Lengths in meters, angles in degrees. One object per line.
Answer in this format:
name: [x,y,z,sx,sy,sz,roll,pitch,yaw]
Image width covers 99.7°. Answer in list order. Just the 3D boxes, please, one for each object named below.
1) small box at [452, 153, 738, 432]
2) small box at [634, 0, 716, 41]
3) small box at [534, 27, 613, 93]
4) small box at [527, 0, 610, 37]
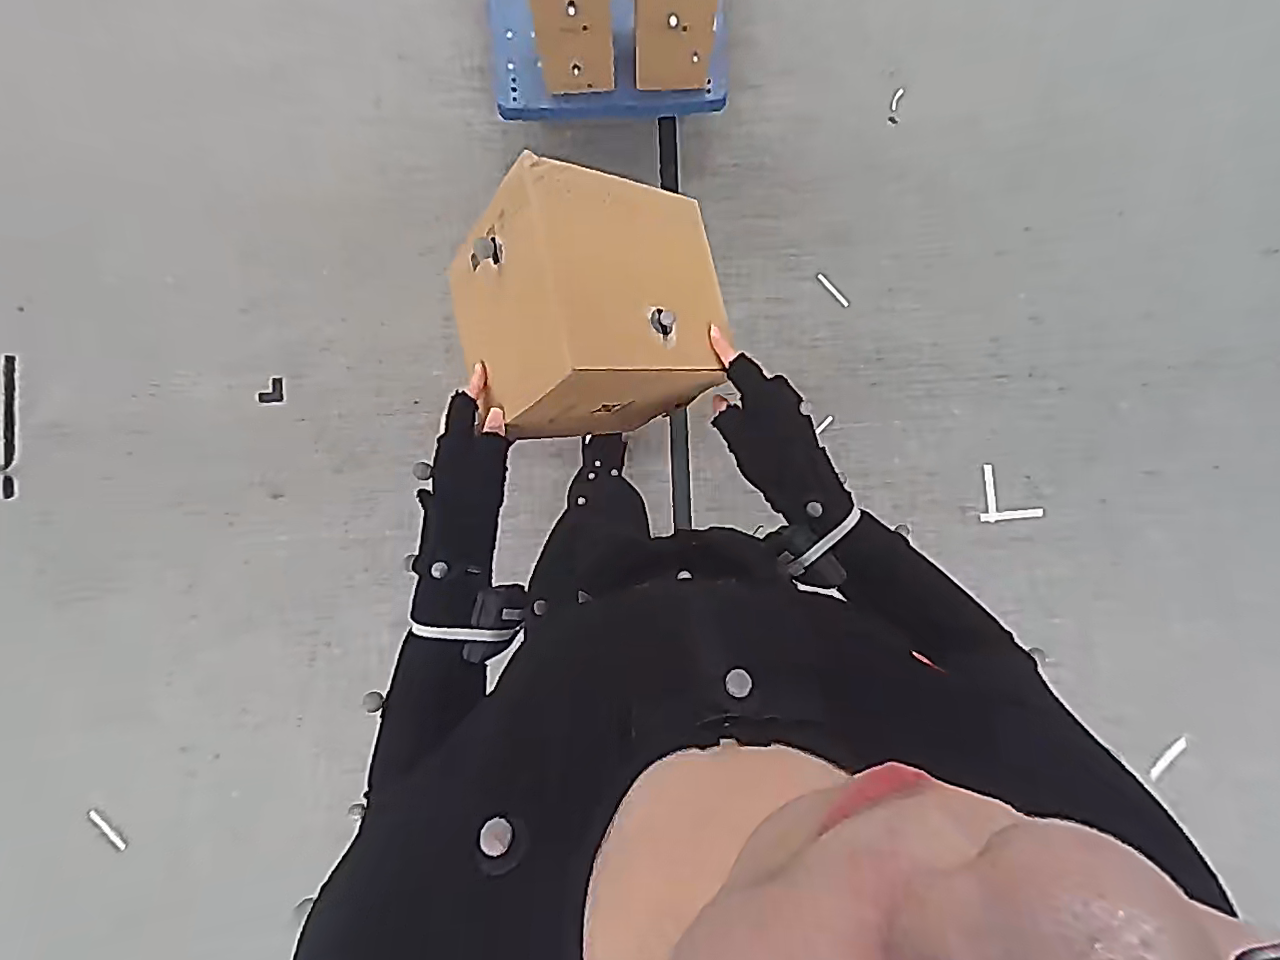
small box: [-0.044,-0.150,0.482,0.179,0.168,0.176,-8,82,-40]
small box: [0.070,-1.041,1.089,0.168,0.176,0.179,-1,89,-1]
small box: [-0.152,-1.033,1.251,0.168,0.176,0.179,-4,88,-2]
small box: [-0.151,-1.036,1.086,0.168,0.176,0.179,-6,89,-1]
